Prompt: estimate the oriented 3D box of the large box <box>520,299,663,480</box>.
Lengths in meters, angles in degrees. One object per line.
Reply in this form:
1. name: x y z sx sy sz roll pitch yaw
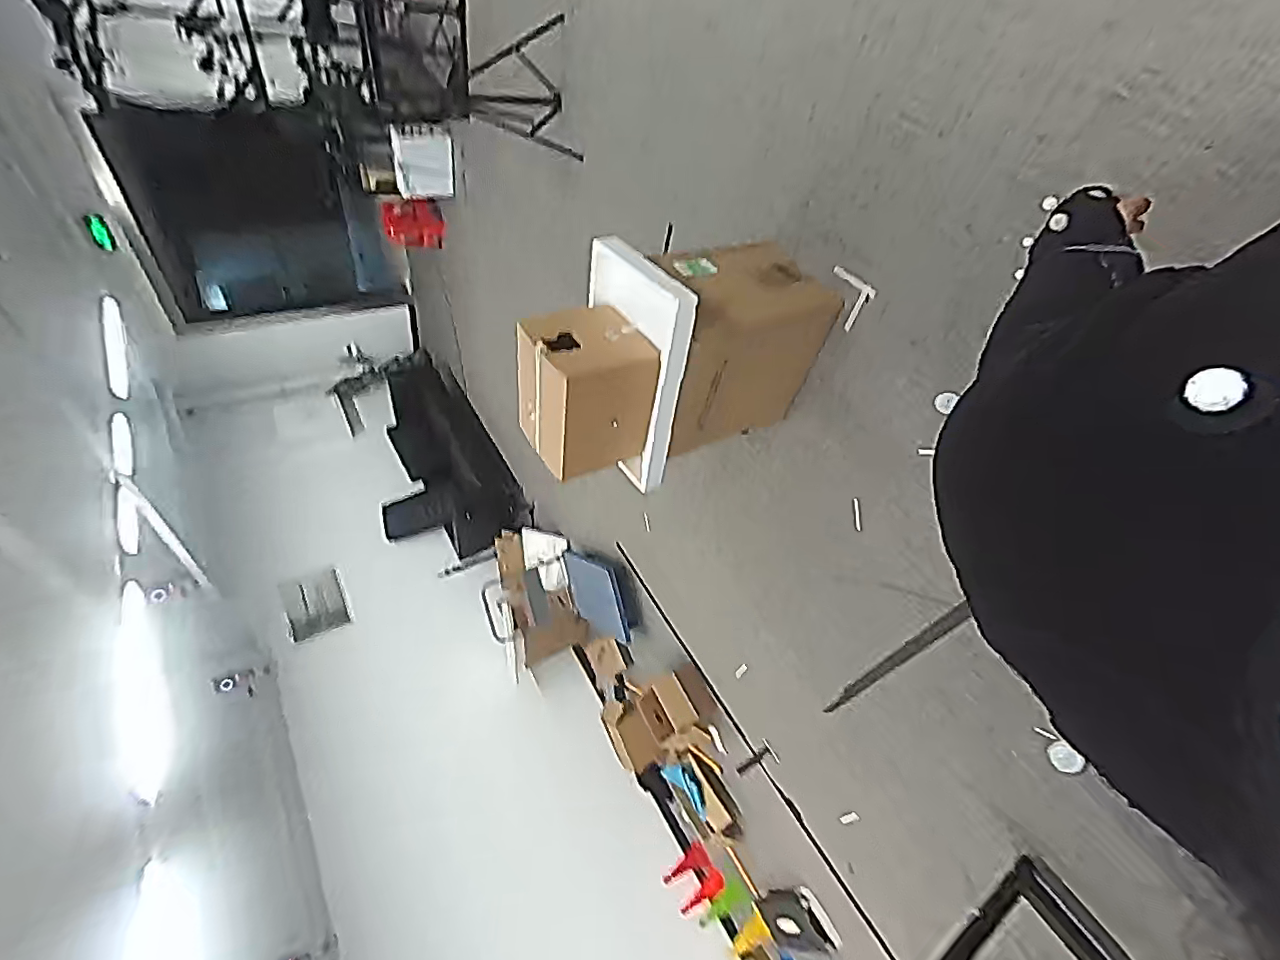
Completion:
1. large box: -0.157 -0.282 1.662 0.320 0.320 0.408 52 149 33
